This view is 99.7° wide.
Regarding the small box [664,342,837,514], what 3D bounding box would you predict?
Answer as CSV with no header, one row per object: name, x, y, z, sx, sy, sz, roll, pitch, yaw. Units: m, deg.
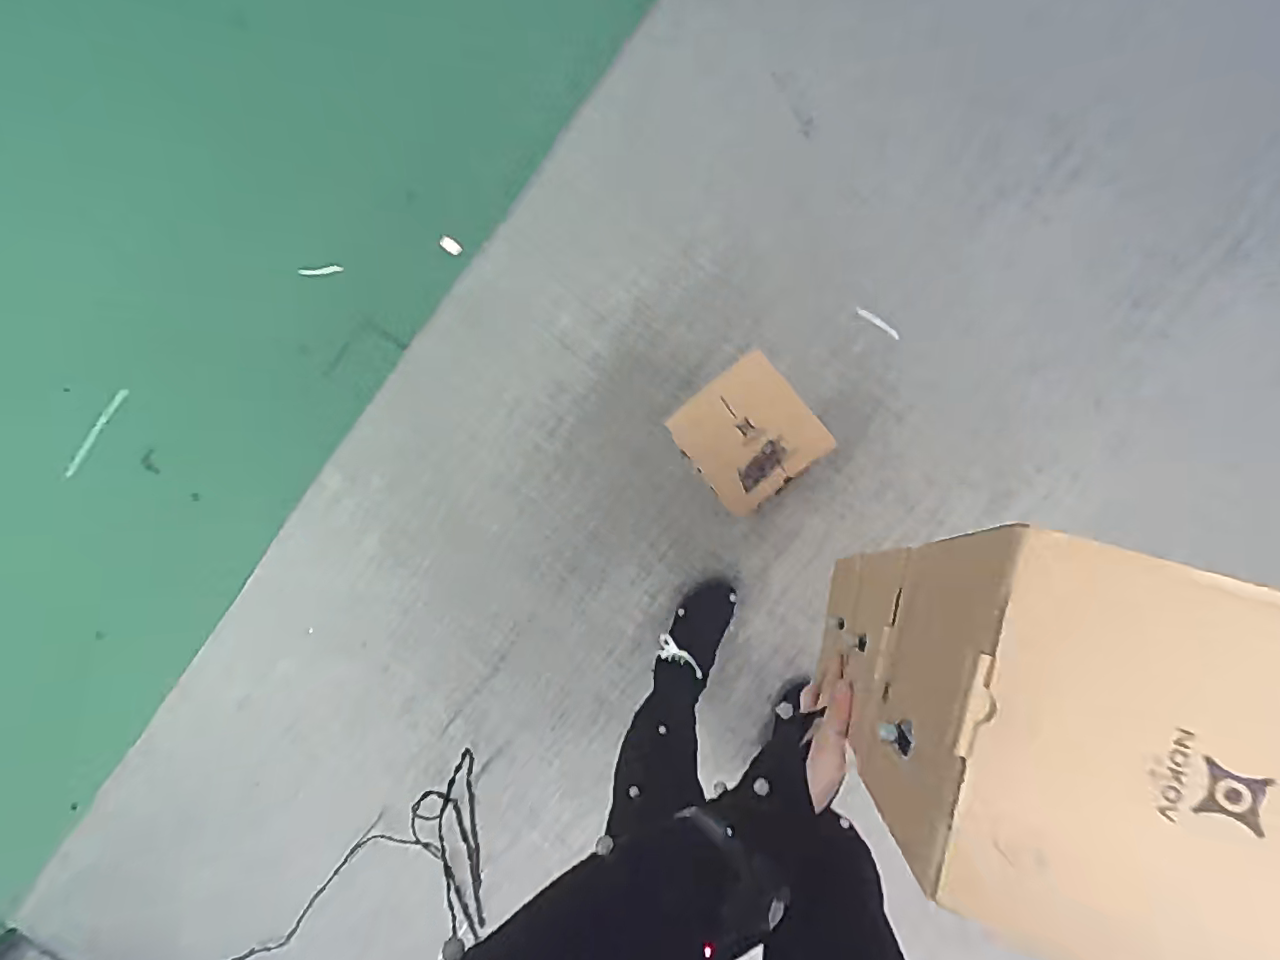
small box,0.159,-0.068,0.797,0.168,0.176,0.179,-36,82,7

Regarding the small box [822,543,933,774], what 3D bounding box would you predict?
small box,0.252,0.157,0.421,0.179,0.176,0.168,15,83,15

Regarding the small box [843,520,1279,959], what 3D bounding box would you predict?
small box,0.215,0.132,0.263,0.179,0.176,0.168,19,84,14

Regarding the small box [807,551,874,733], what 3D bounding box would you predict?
small box,0.280,0.184,0.582,0.168,0.176,0.179,11,81,14
